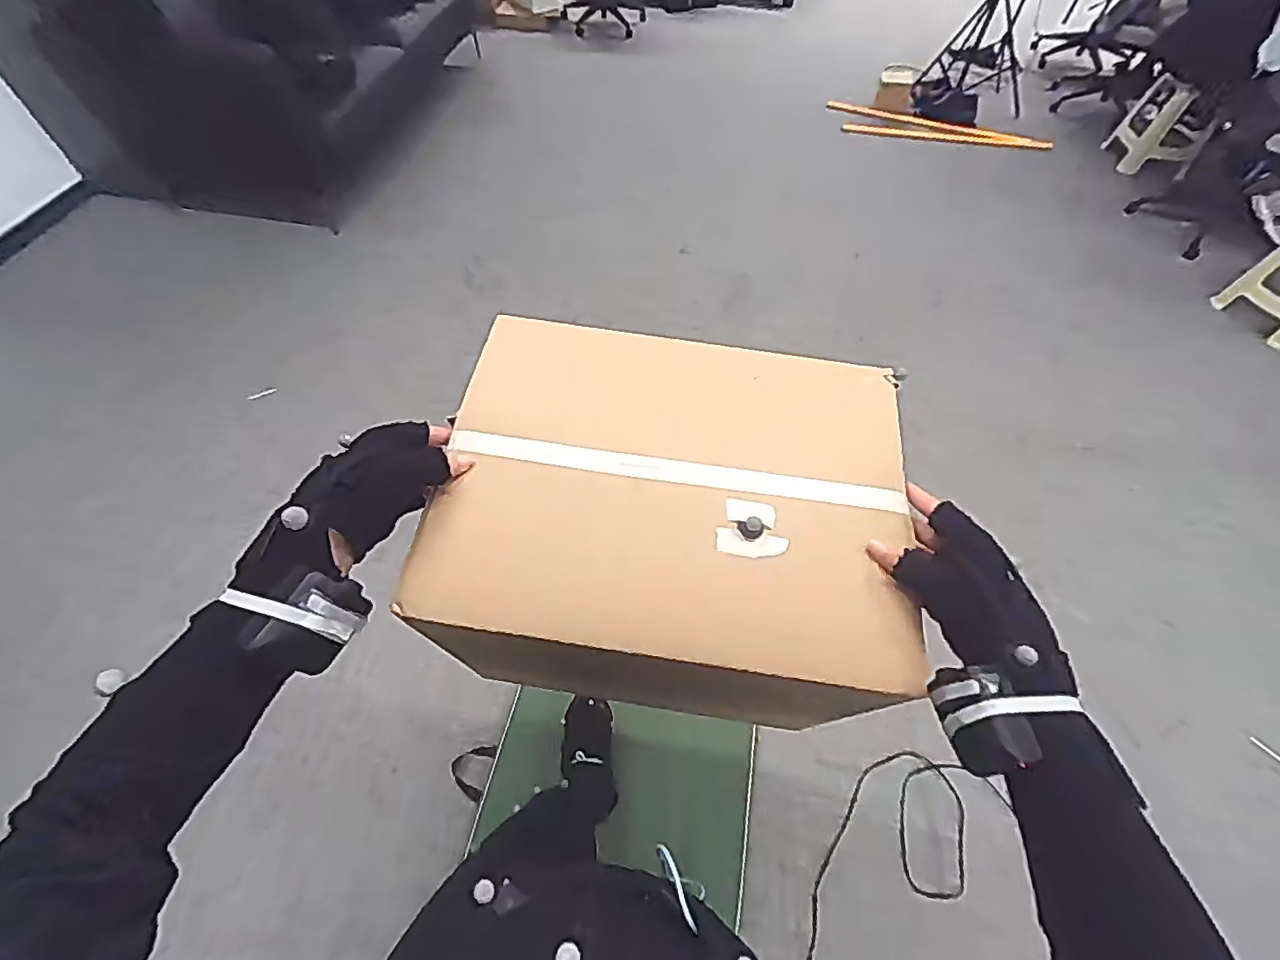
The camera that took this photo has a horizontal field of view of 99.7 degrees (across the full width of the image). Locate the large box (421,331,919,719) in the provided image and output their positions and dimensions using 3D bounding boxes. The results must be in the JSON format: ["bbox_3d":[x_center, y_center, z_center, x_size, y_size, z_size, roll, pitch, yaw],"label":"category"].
[{"bbox_3d":[0.030,0.071,0.623,0.408,0.320,0.320,9,61,1],"label":"large box"}]
